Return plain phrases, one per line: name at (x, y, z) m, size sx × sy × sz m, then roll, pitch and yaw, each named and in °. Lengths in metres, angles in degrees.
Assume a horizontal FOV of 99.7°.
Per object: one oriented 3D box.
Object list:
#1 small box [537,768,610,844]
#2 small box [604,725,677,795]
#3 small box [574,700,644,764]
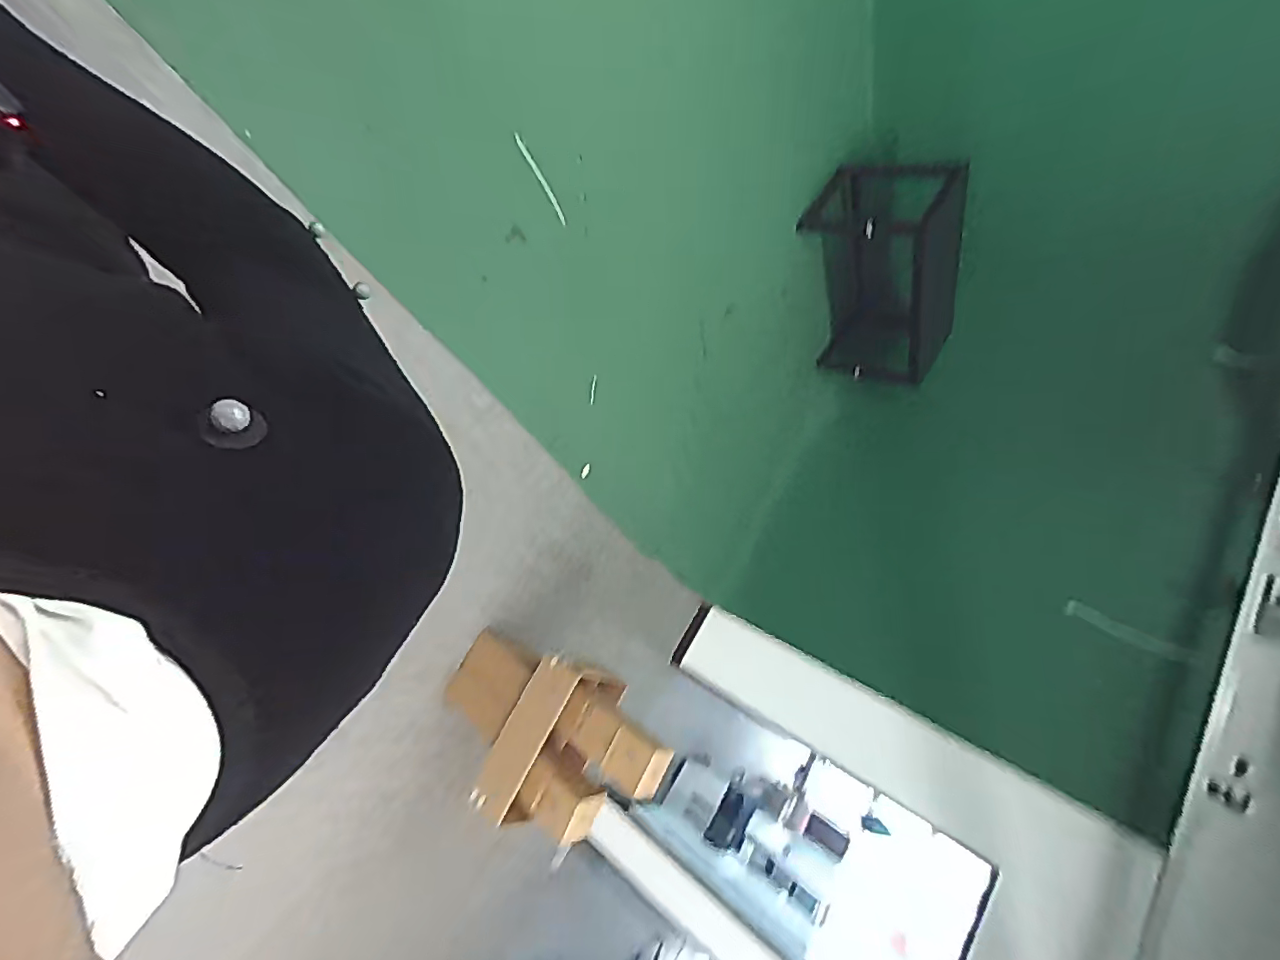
small box at (-0.251, 1.203, 2.008) m, size 0.179 × 0.176 × 0.168 m, roll 30°, pitch 84°, yaw -54°
small box at (0.000, 1.006, 1.955) m, size 0.168 × 0.176 × 0.179 m, roll -62°, pitch 145°, yaw -9°
small box at (-0.120, 0.958, 2.053) m, size 0.168 × 0.176 × 0.179 m, roll -61°, pitch 145°, yaw -11°
